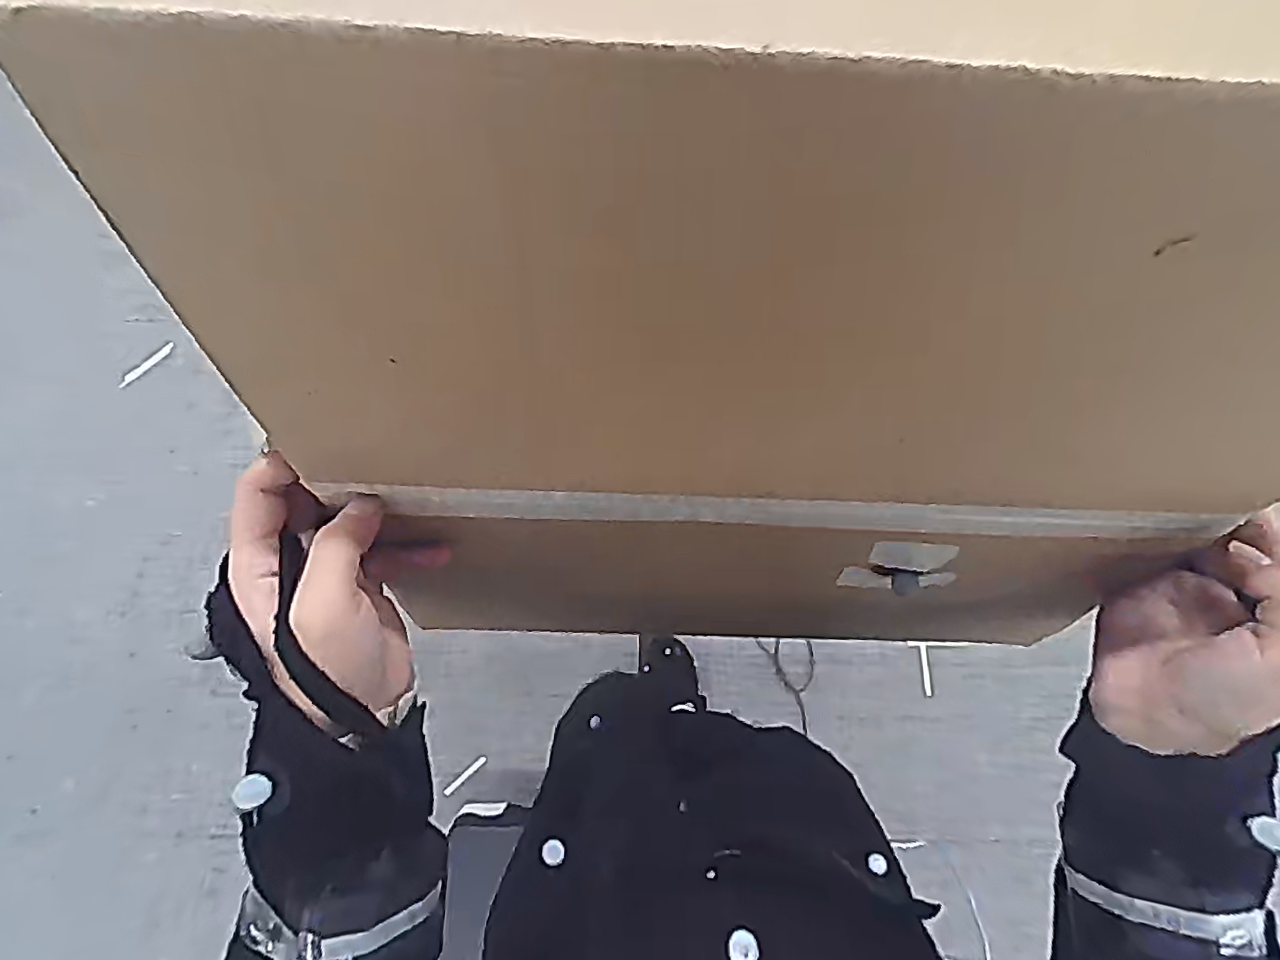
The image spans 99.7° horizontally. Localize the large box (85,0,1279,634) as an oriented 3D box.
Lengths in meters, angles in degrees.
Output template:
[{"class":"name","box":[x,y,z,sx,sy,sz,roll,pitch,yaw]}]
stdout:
[{"class":"large box","box":[0.061,-0.109,0.334,0.408,0.320,0.320,1,54,-2]}]
